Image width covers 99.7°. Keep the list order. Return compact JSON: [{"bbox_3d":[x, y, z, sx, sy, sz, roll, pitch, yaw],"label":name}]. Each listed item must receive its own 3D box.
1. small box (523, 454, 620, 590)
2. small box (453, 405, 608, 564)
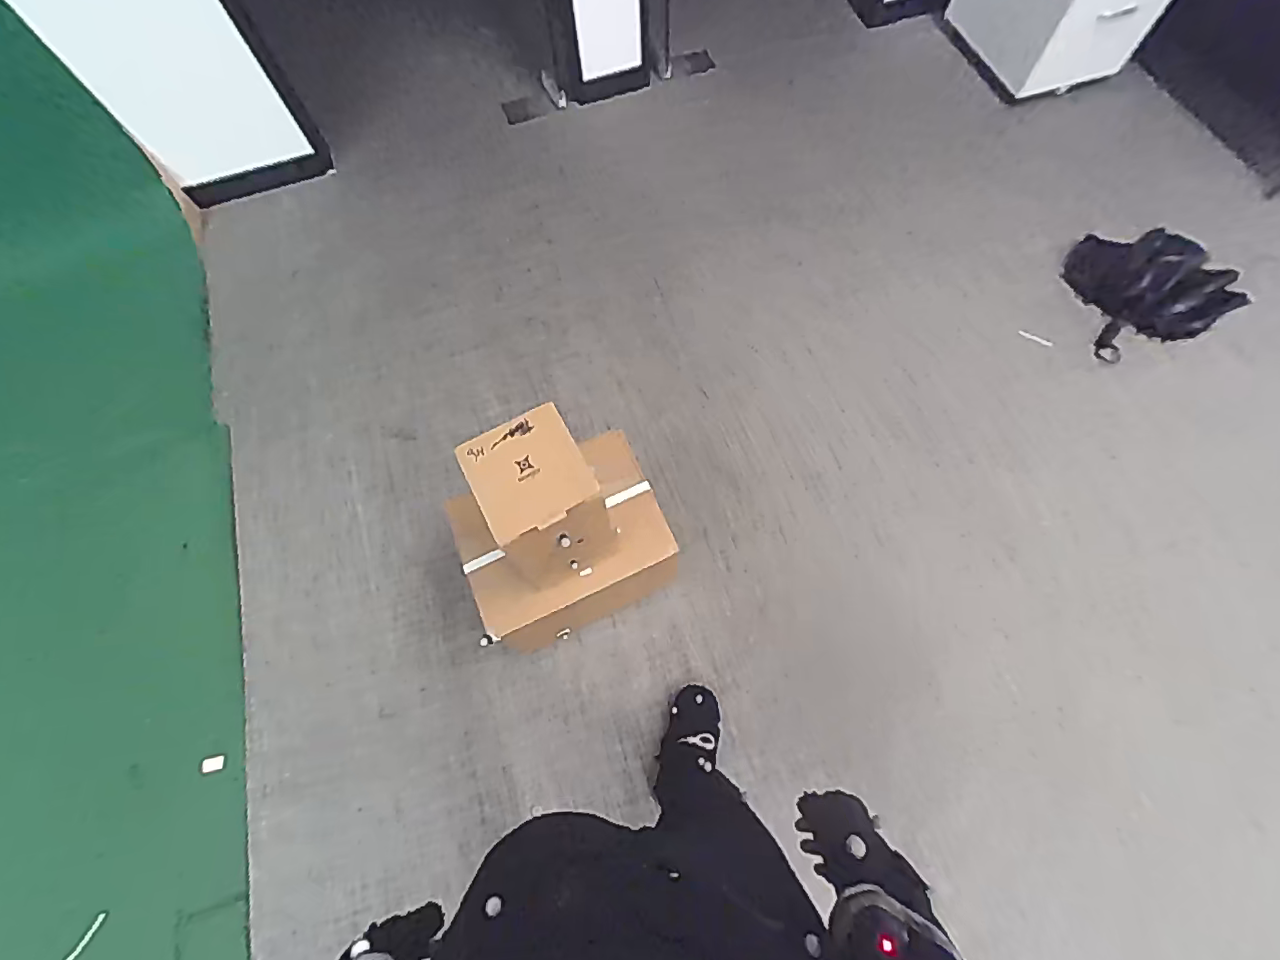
[{"bbox_3d":[-0.148,0.082,1.005,0.179,0.176,0.168,-29,70,-10],"label":"small box"},{"bbox_3d":[-0.162,0.019,0.854,0.168,0.176,0.179,-27,70,-8],"label":"small box"}]
